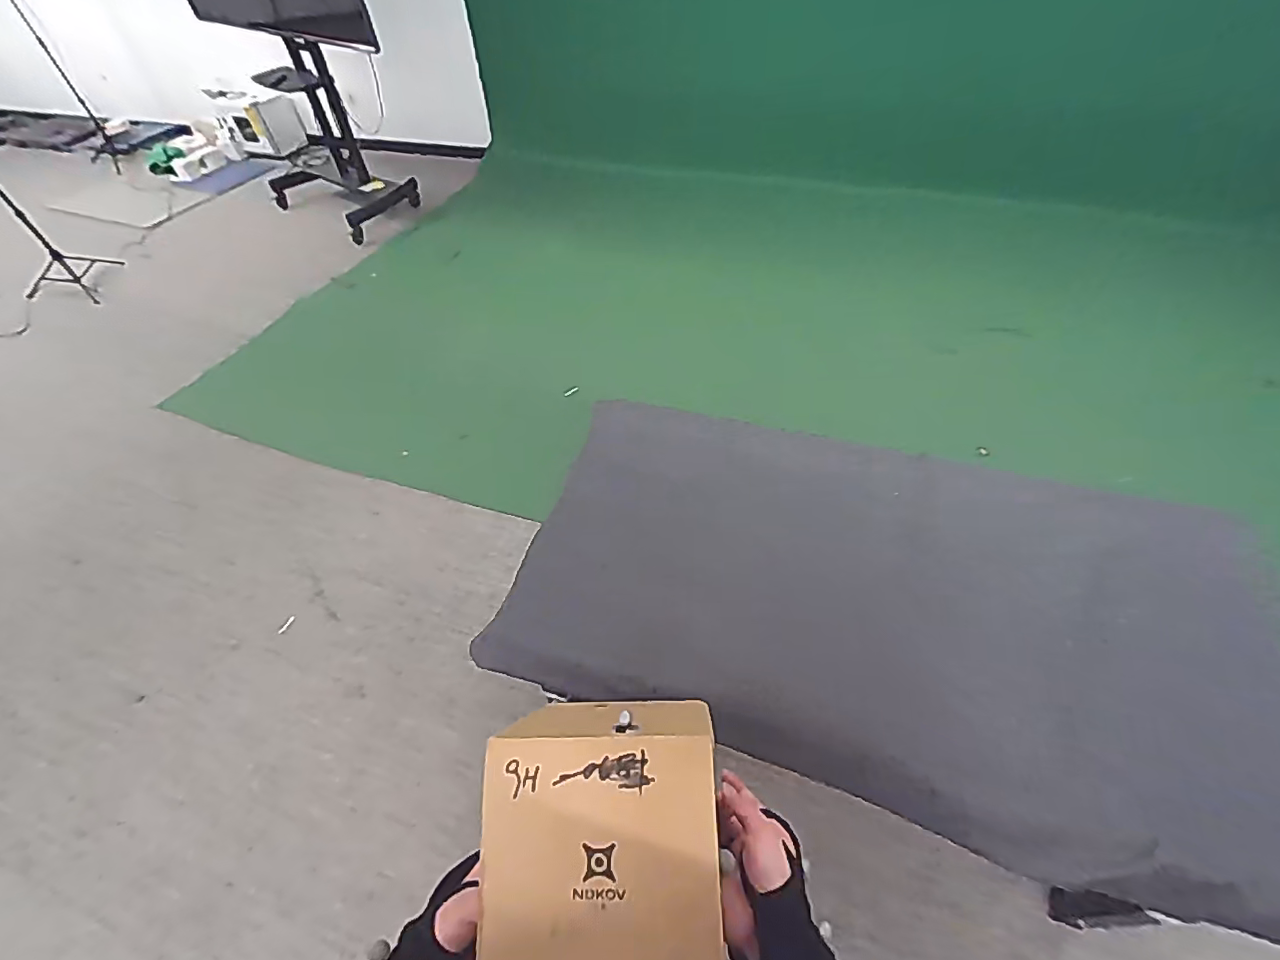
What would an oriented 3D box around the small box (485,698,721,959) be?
[{"bbox_3d":[-0.019,0.291,0.455,0.168,0.176,0.179,-2,77,4],"label":"small box"}]
